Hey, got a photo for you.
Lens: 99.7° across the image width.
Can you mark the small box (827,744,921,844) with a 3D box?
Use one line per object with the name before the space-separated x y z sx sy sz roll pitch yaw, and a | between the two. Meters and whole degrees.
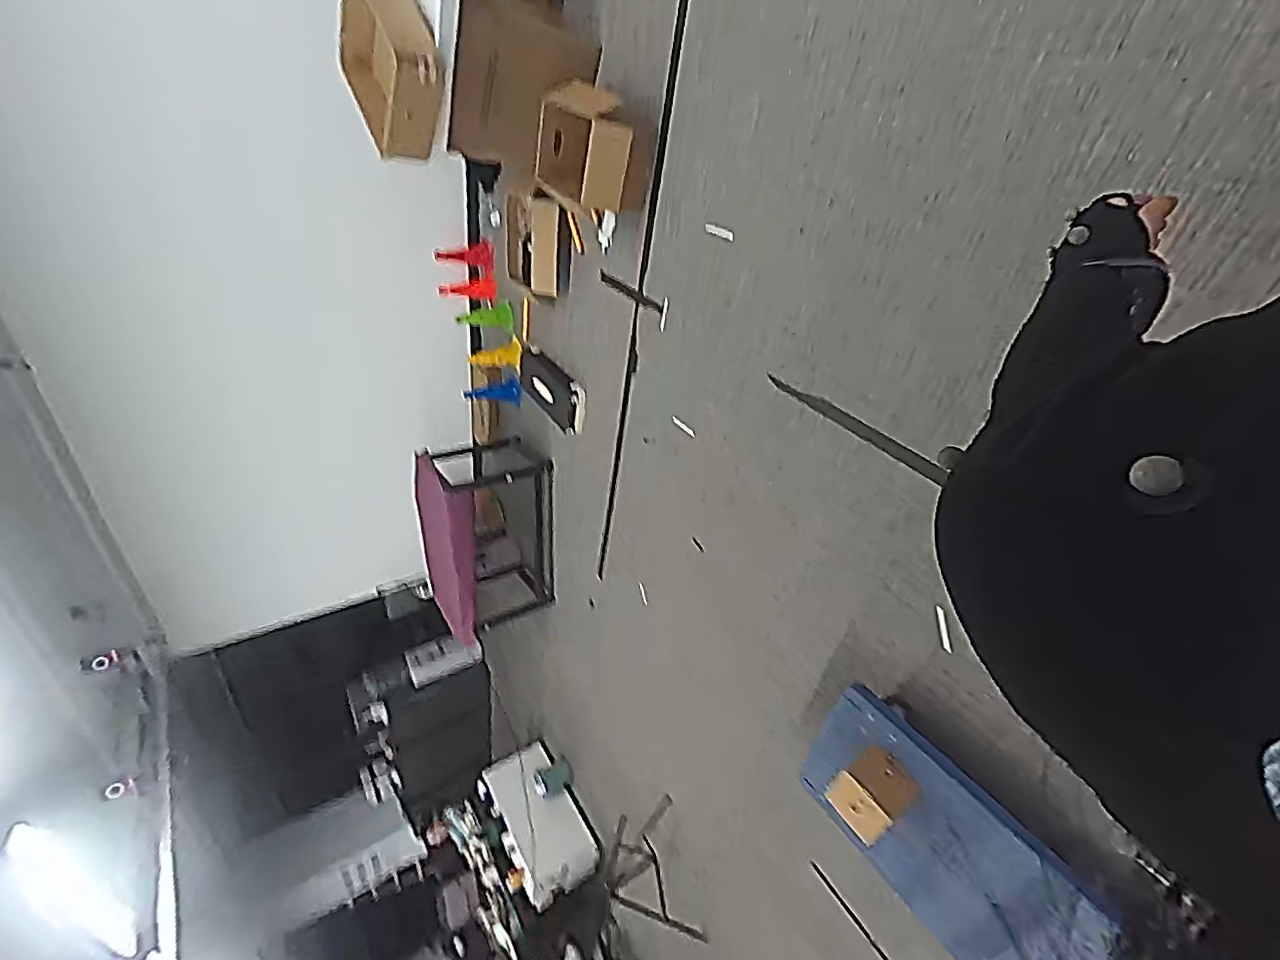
small box | 0.709 0.945 1.635 0.168 0.176 0.179 45 136 36
